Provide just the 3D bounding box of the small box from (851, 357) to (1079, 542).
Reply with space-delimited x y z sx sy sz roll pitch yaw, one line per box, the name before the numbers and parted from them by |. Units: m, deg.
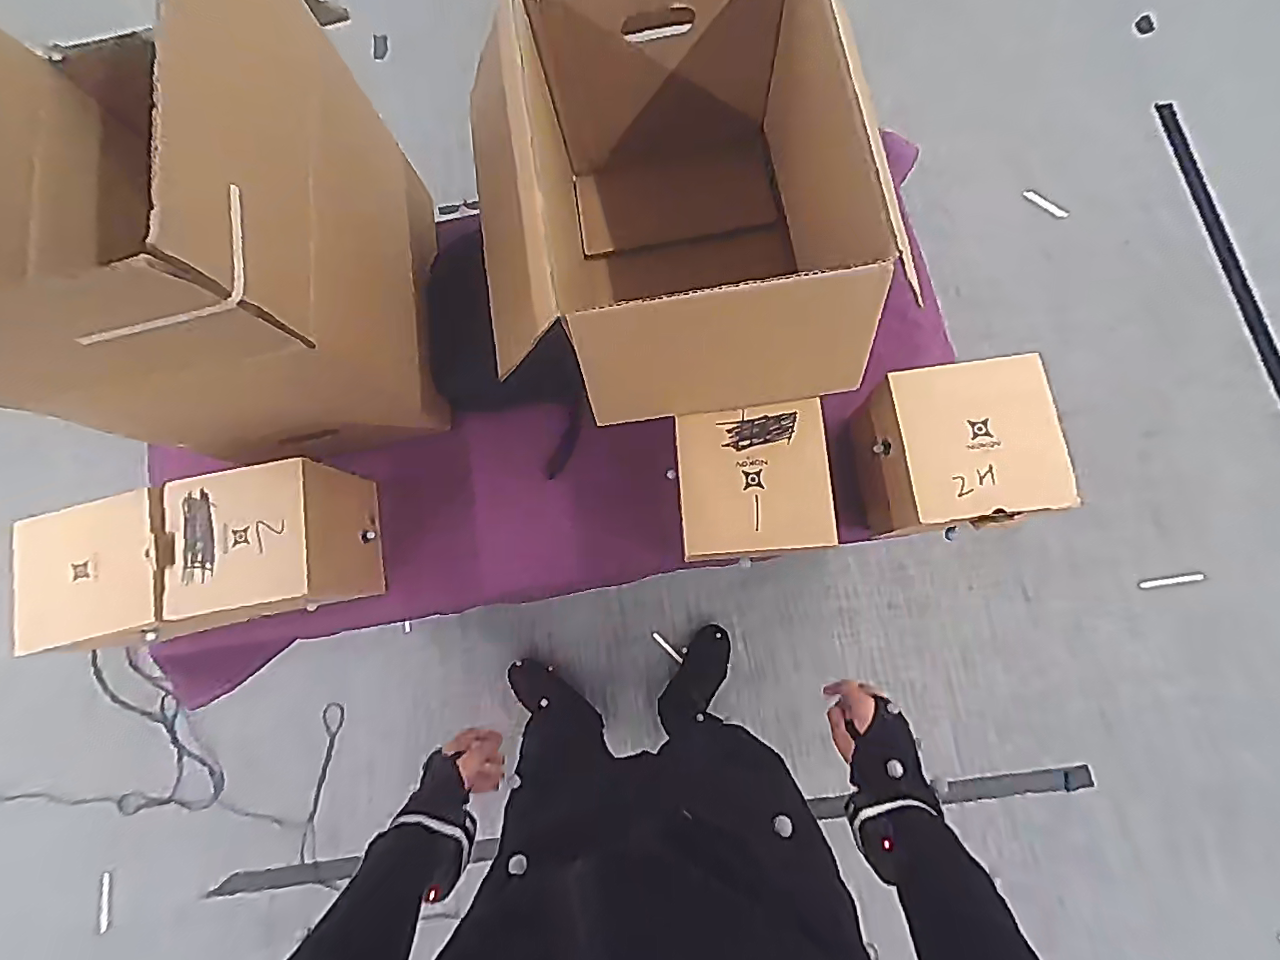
small box | 0.372 -0.027 0.659 0.168 0.176 0.179 -7 78 5
